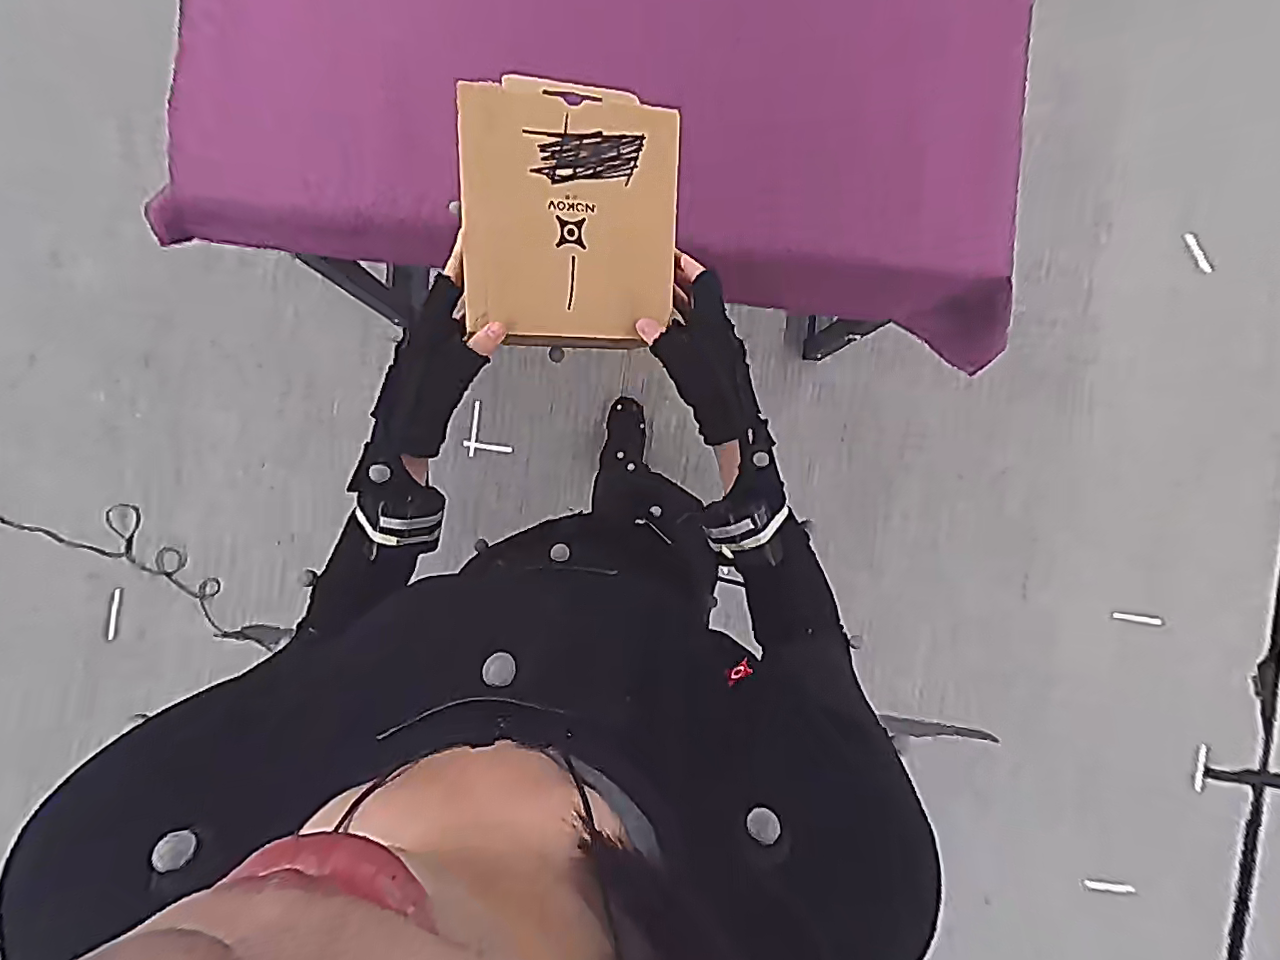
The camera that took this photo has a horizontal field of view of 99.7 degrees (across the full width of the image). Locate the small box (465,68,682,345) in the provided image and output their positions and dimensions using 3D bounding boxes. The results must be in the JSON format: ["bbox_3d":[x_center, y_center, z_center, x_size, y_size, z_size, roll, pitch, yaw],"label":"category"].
[{"bbox_3d":[-0.067,-0.220,0.489,0.168,0.176,0.179,-1,101,-12],"label":"small box"}]
